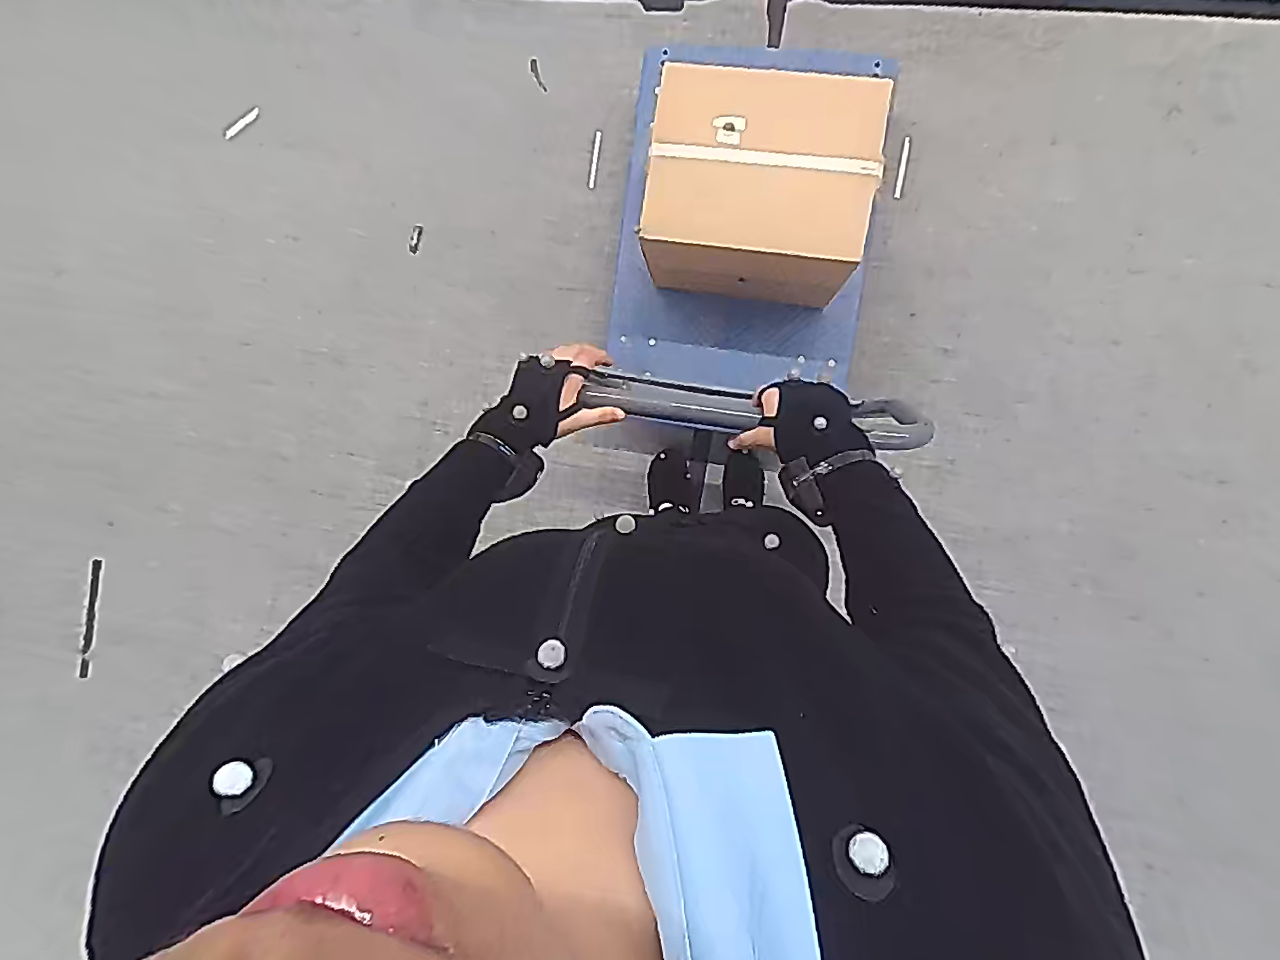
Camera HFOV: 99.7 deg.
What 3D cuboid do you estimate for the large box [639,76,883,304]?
[{"bbox_3d":[0.235,-0.575,1.128,0.408,0.320,0.320,9,93,8],"label":"large box"}]
